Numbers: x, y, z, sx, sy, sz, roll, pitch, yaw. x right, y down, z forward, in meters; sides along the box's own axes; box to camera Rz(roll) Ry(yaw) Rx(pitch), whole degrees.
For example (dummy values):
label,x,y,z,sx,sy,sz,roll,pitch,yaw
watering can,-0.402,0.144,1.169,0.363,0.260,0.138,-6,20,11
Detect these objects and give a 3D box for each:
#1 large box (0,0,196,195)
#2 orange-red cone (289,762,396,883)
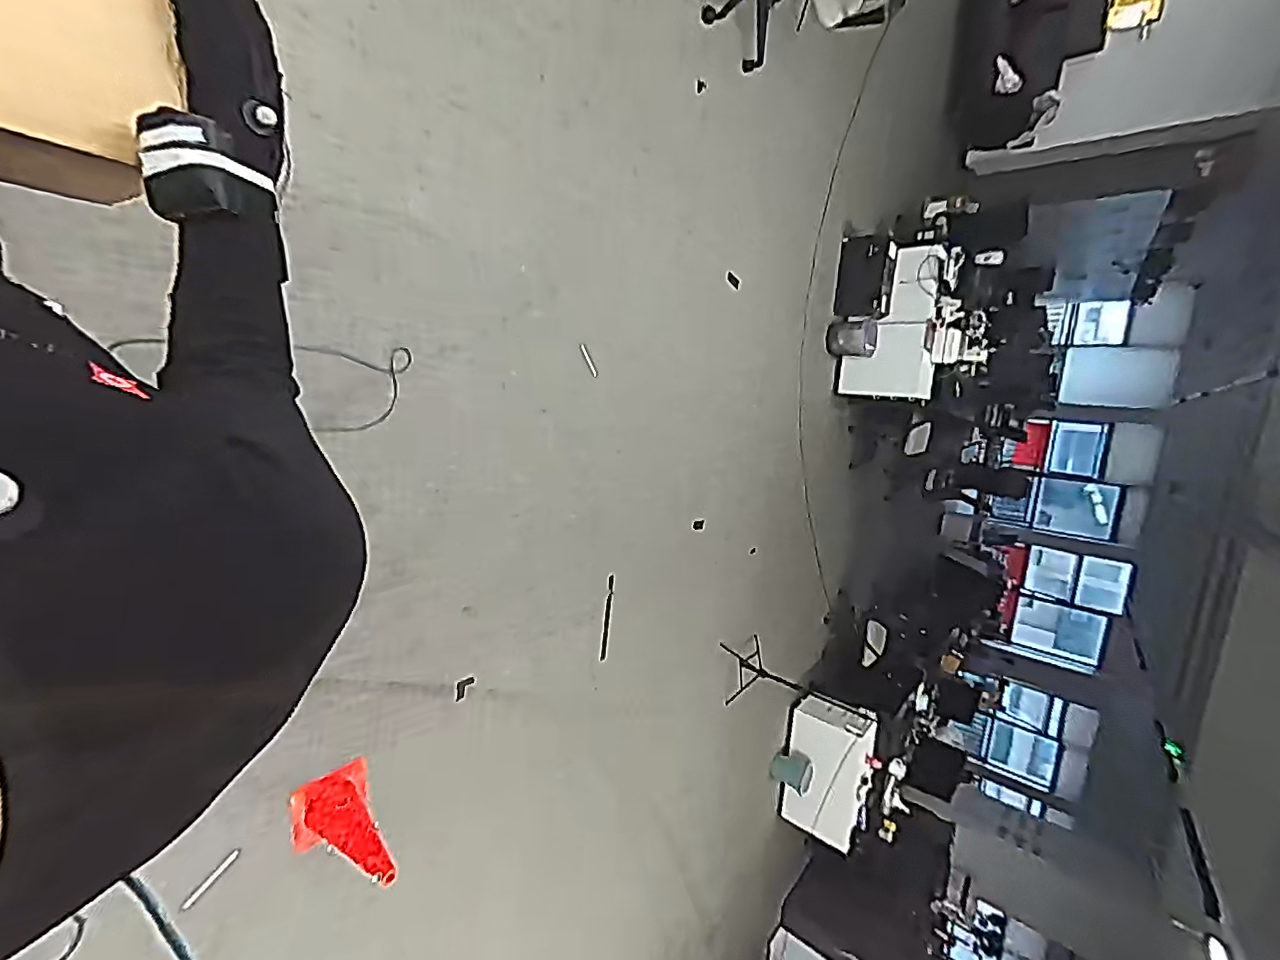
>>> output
label,x,y,z,sx,sy,sz,roll,pitch,yaw
large box,-0.565,-0.404,0.318,0.408,0.320,0.320,-8,110,-53
orange-red cone,-0.765,0.961,1.453,0.198,0.360,0.199,-9,105,-51
